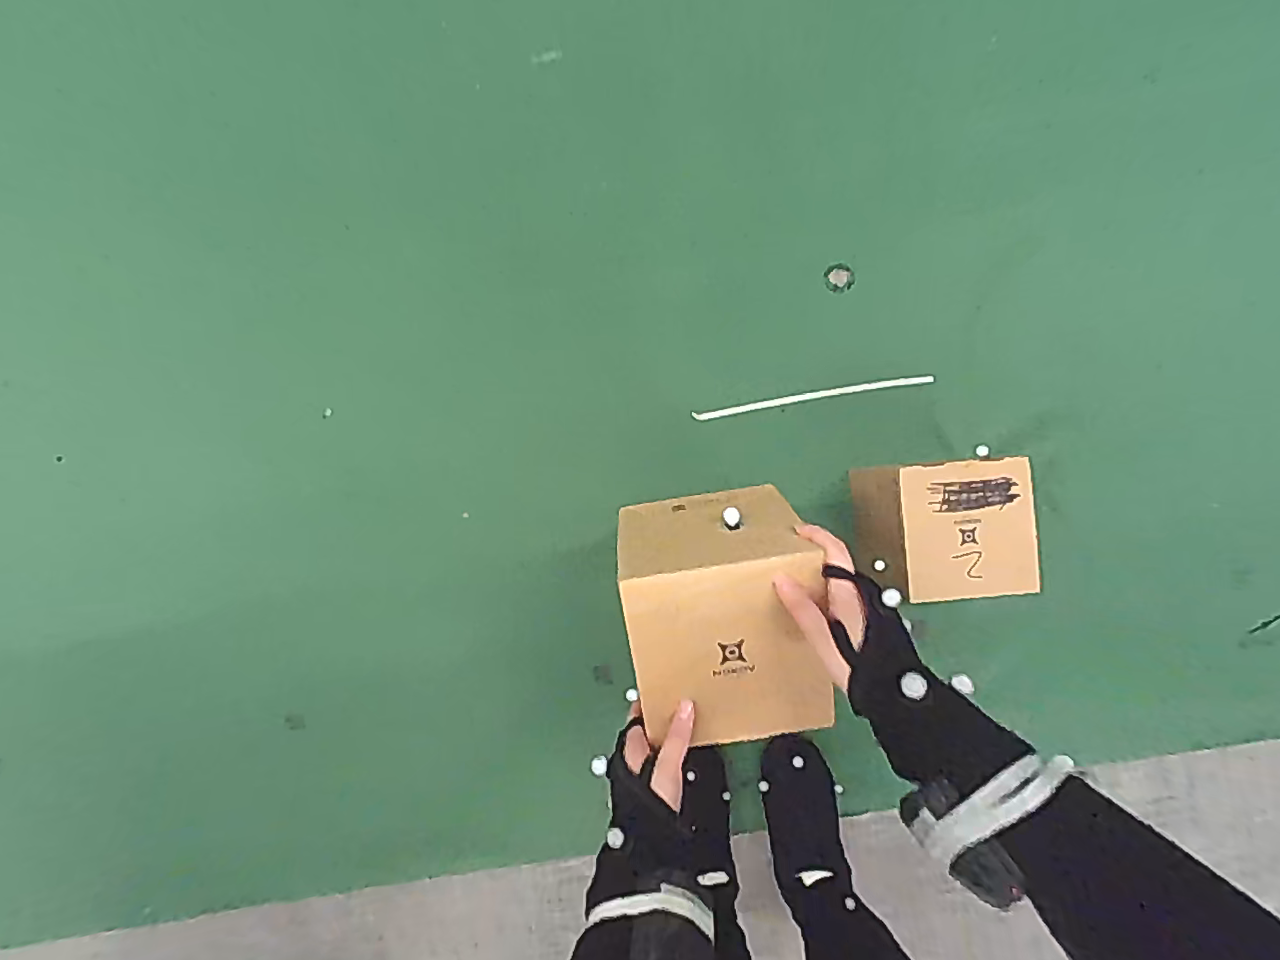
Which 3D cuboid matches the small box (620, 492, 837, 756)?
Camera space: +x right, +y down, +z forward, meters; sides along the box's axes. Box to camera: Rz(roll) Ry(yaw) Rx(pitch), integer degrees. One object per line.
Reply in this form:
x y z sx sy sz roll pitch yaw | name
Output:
0.074 0.122 0.519 0.168 0.176 0.179 -10 110 2 | small box
